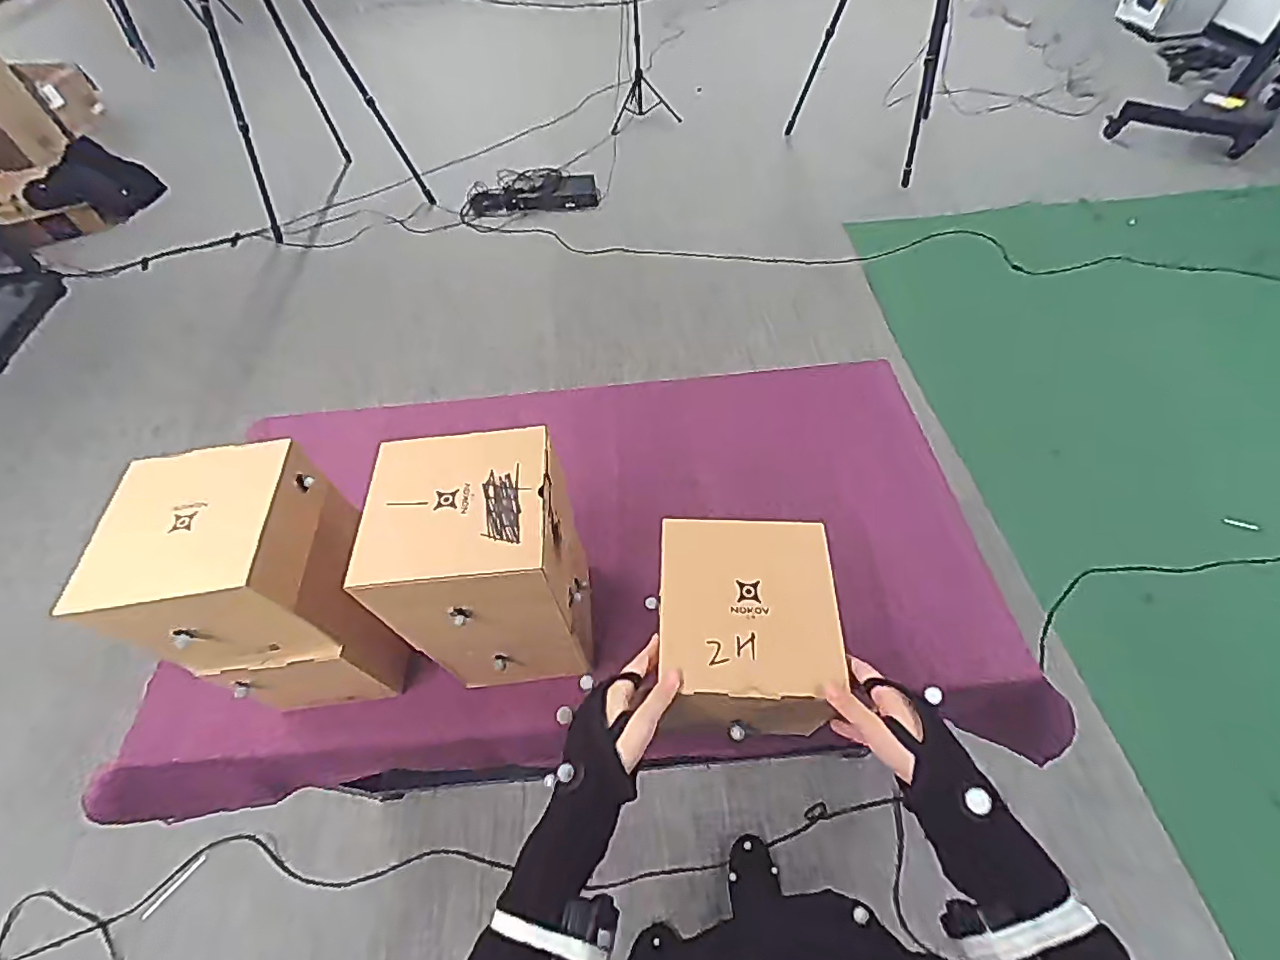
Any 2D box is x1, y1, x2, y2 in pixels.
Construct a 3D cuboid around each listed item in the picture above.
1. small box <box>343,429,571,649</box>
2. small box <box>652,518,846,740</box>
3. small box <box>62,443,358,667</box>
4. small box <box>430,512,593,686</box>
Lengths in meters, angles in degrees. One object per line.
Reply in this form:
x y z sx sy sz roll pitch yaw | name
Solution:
-0.171 0.069 0.576 0.179 0.176 0.168 -6 54 1 | small box
0.099 0.159 0.567 0.168 0.176 0.179 1 56 4 | small box
-0.431 0.089 0.586 0.168 0.176 0.179 -9 53 -2 | small box
-0.162 0.161 0.712 0.179 0.176 0.168 -6 54 0 | small box
